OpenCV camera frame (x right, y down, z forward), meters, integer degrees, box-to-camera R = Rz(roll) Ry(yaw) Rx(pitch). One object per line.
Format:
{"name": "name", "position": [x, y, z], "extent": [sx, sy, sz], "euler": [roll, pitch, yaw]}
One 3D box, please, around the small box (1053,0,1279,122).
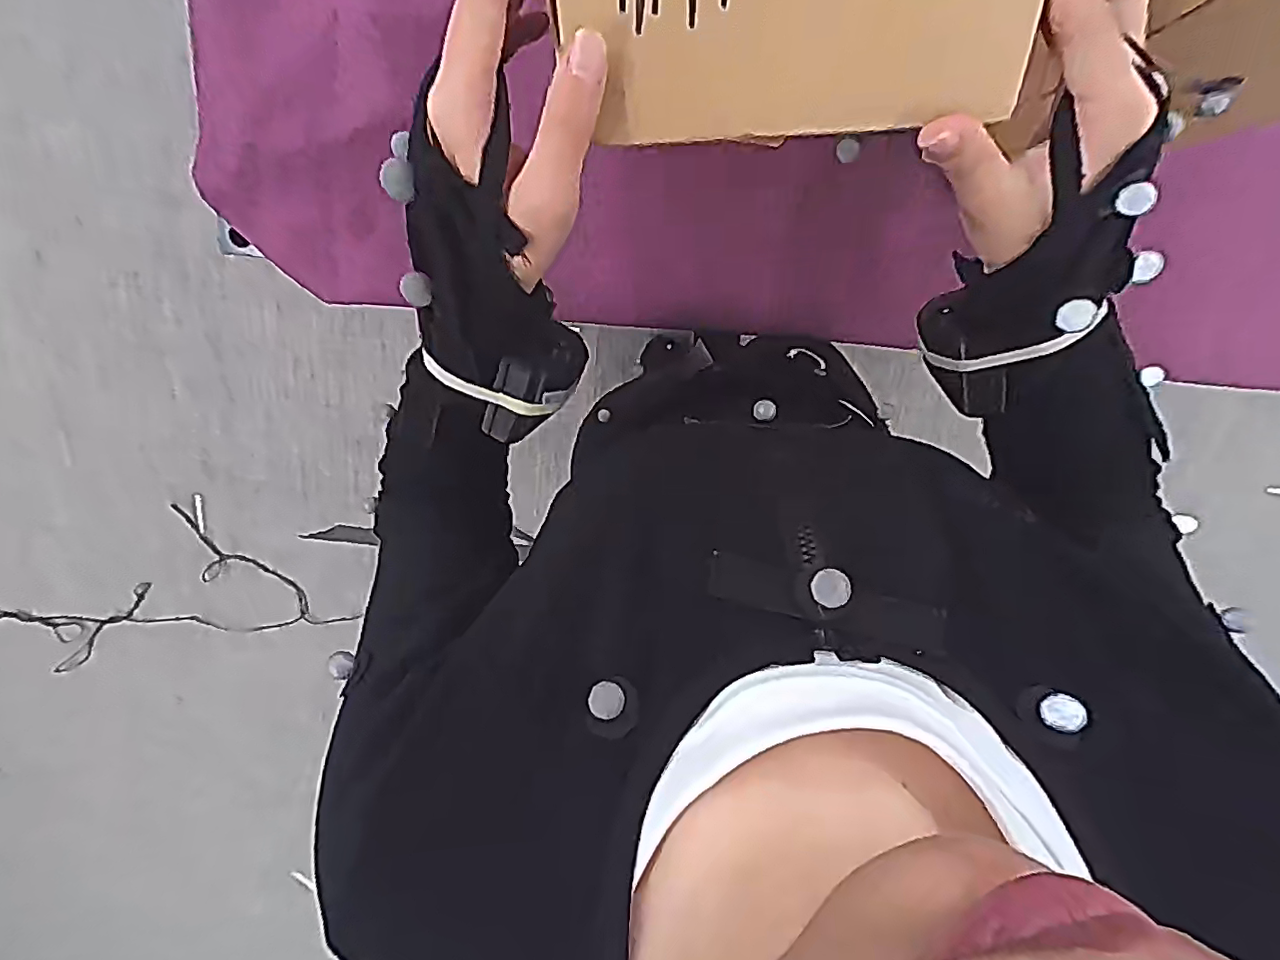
{"name": "small box", "position": [0.379, -0.332, 0.293], "extent": [0.168, 0.176, 0.179], "euler": [8, 107, -1]}

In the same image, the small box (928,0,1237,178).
{"name": "small box", "position": [0.375, -0.379, 0.451], "extent": [0.168, 0.176, 0.179], "euler": [8, 107, -2]}

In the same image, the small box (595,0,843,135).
{"name": "small box", "position": [0.063, -0.409, 0.446], "extent": [0.179, 0.176, 0.168], "euler": [6, 106, -2]}
